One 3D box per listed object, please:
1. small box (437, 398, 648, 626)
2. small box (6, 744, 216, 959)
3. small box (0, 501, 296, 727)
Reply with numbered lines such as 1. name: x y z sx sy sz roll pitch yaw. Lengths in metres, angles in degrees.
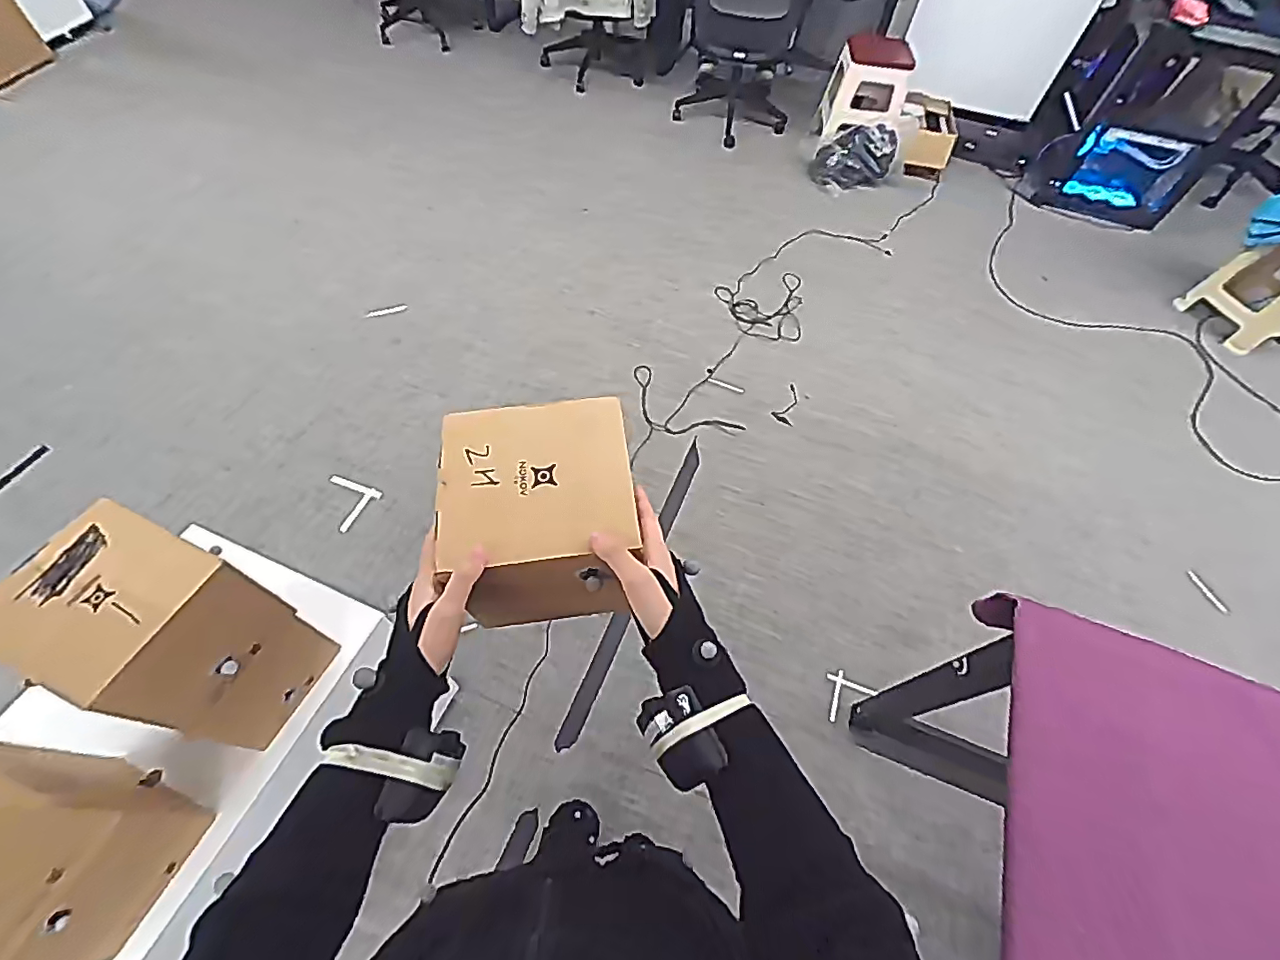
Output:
1. small box: -0.090 0.039 0.552 0.179 0.176 0.168 -7 59 -4
2. small box: -0.659 0.433 0.621 0.179 0.176 0.168 21 60 11
3. small box: -0.546 0.157 0.609 0.179 0.176 0.168 23 60 9
